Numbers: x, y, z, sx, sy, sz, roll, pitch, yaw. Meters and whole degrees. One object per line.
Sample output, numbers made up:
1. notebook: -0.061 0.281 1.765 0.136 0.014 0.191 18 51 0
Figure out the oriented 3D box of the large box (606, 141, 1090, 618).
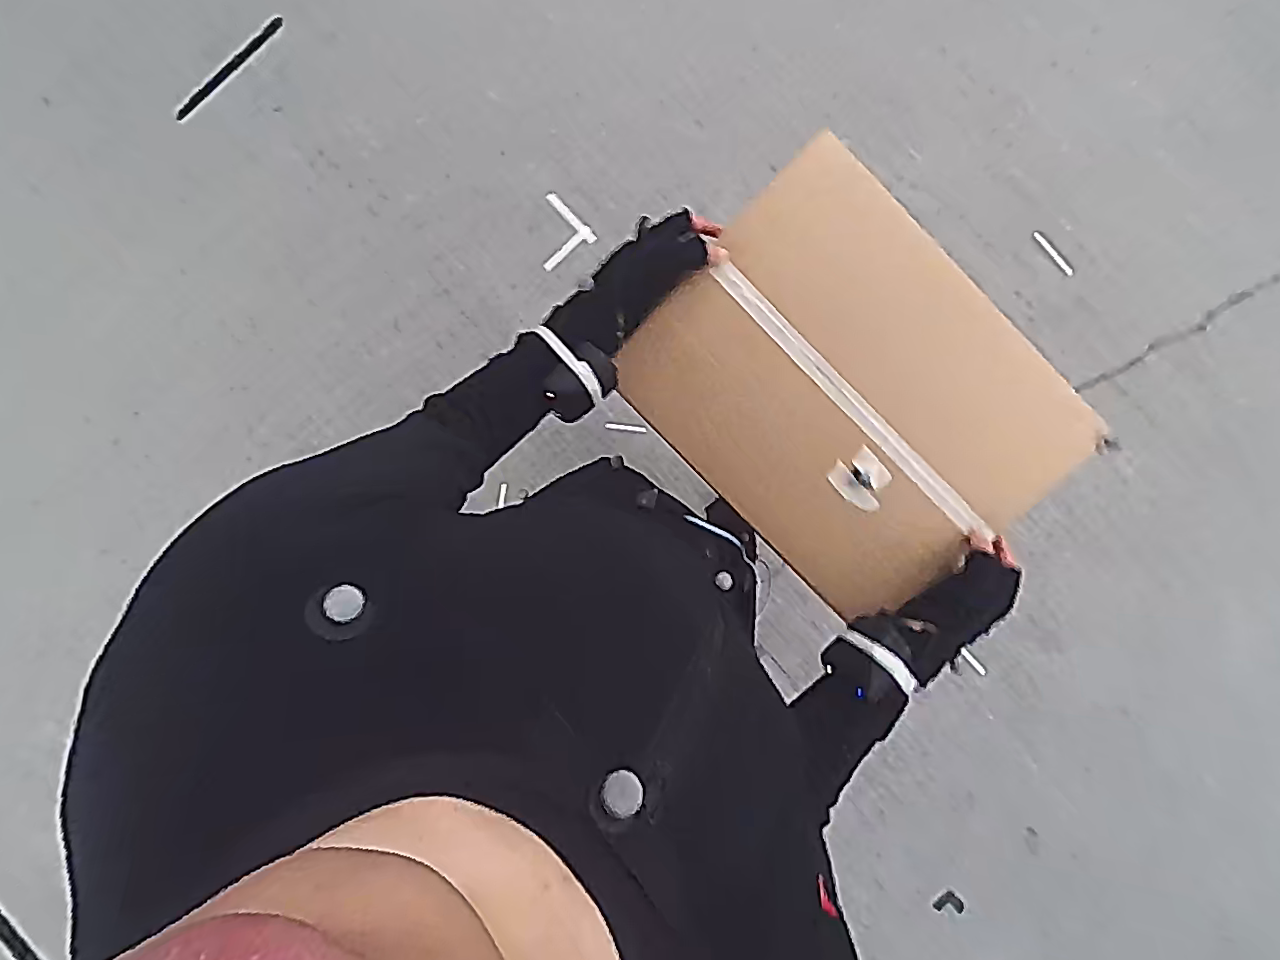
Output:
1. large box: 0.215 -0.110 0.699 0.408 0.320 0.320 45 99 -3
